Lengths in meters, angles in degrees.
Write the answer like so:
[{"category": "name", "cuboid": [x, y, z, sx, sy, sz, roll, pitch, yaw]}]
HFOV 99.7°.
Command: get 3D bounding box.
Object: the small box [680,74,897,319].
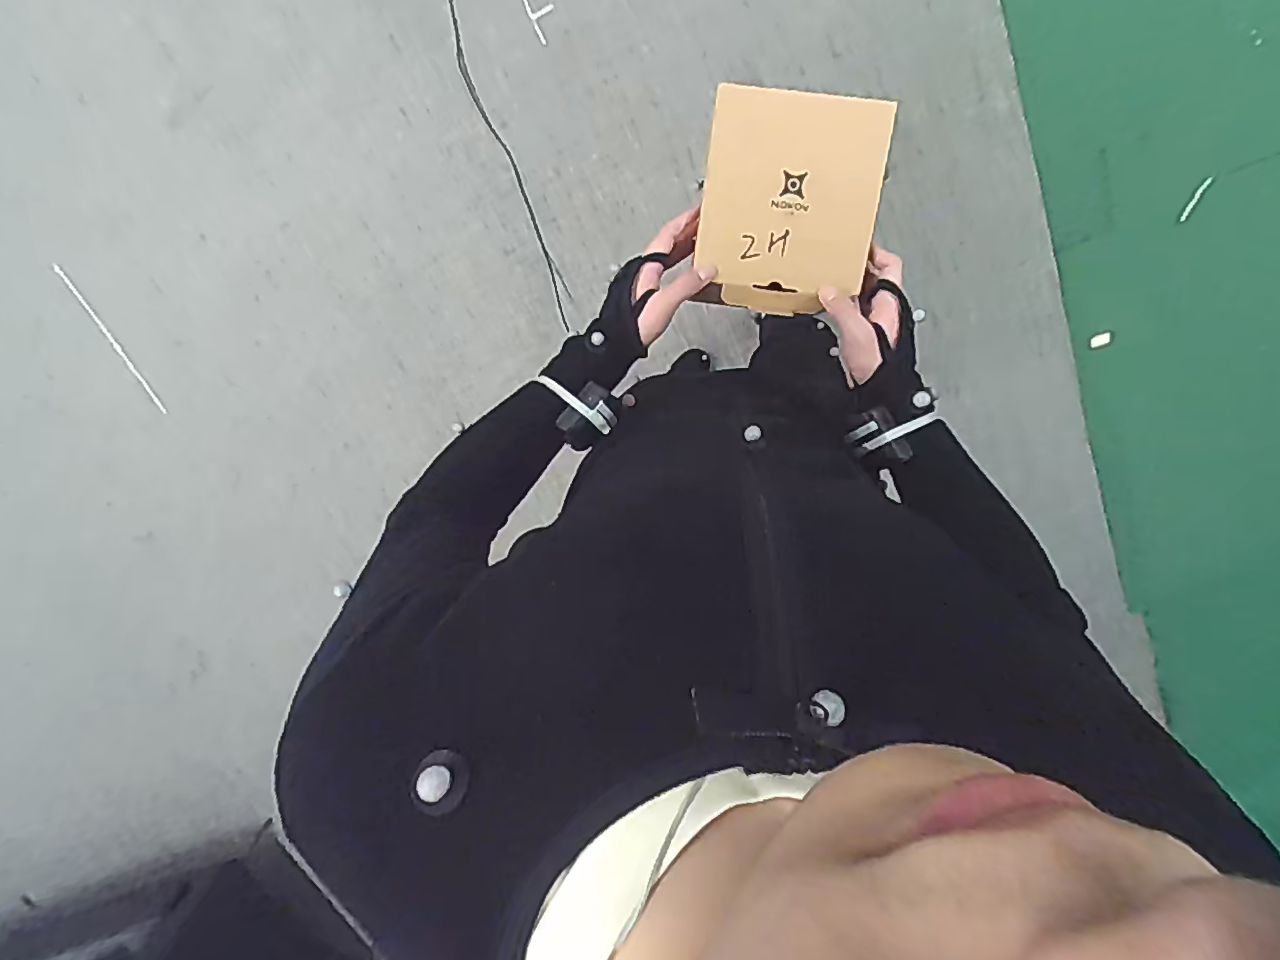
[{"category": "small box", "cuboid": [0.141, -0.285, 0.585, 0.168, 0.176, 0.179, 14, 103, 2]}]
